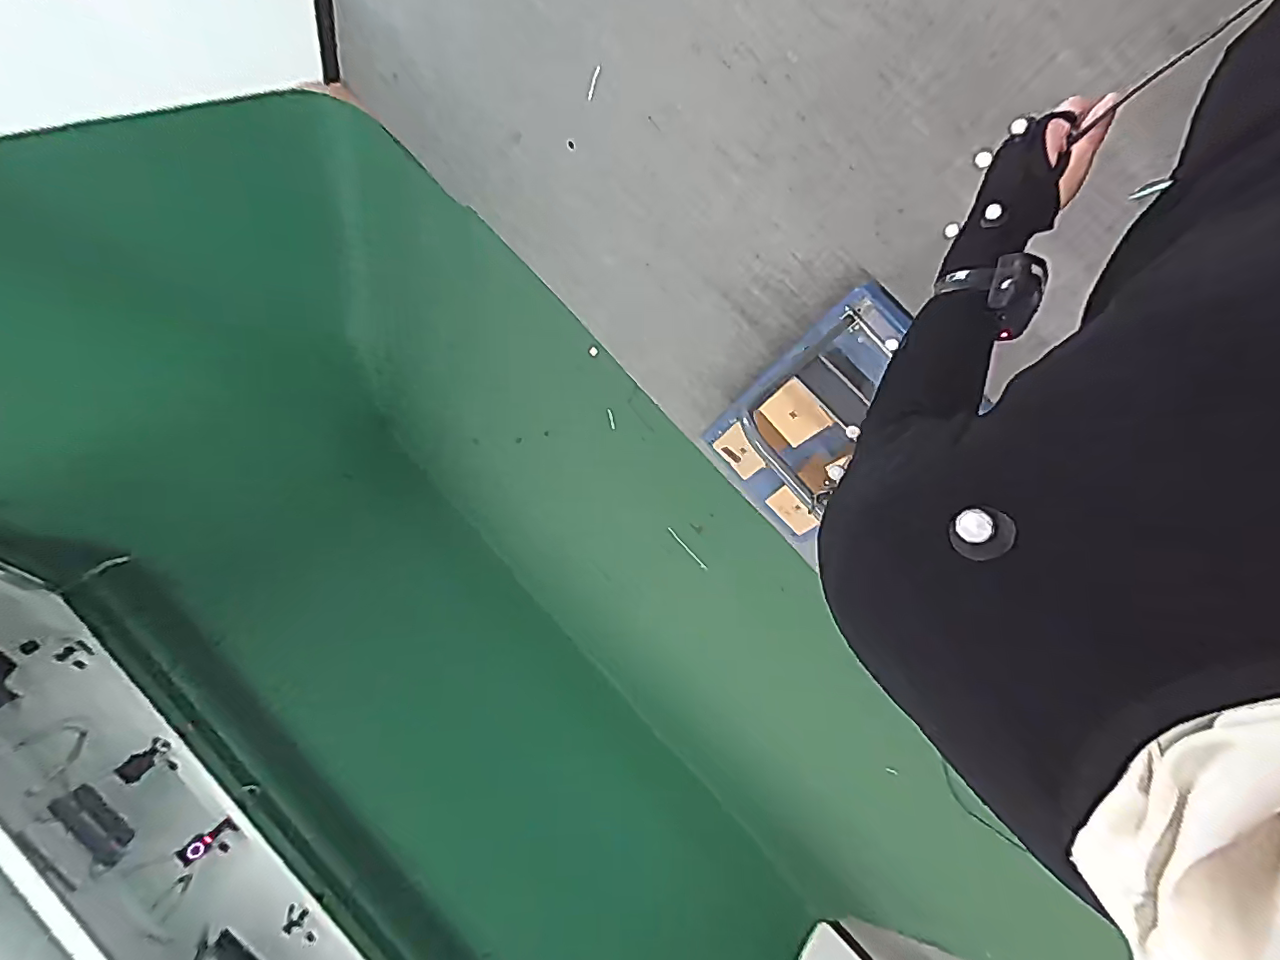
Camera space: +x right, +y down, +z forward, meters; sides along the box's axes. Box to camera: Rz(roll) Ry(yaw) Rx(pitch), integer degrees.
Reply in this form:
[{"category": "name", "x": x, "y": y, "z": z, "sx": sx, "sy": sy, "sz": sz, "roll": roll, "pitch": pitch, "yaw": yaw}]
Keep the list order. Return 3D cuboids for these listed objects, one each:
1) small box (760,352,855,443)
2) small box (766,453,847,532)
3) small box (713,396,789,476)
[{"category": "small box", "x": 0.498, "y": -0.243, "z": 1.602, "sx": 0.168, "sy": 0.176, "sz": 0.179, "roll": 49, "pitch": 146, "yaw": 1}, {"category": "small box", "x": 0.562, "y": 0.039, "z": 1.805, "sx": 0.168, "sy": 0.176, "sz": 0.179, "roll": 47, "pitch": 146, "yaw": 5}, {"category": "small box", "x": 0.387, "y": -0.148, "z": 1.819, "sx": 0.168, "sy": 0.176, "sz": 0.179, "roll": 46, "pitch": 145, "yaw": 3}]
